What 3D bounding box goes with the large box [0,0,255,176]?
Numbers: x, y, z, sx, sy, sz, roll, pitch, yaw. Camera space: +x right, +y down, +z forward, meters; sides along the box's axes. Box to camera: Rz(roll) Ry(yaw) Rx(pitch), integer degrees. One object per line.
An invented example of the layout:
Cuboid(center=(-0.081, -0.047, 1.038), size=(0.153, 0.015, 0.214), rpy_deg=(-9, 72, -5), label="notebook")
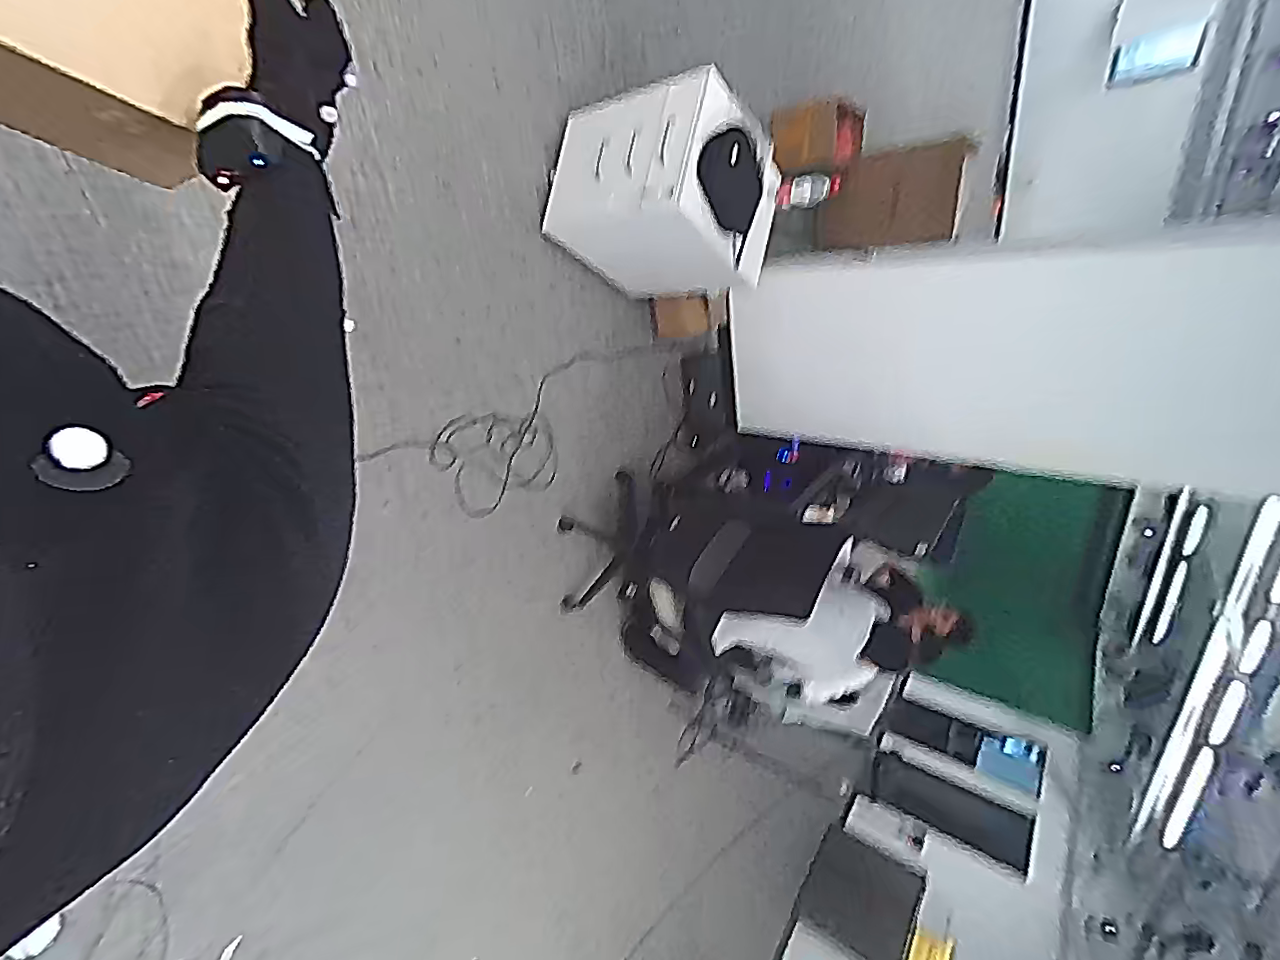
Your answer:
Cuboid(center=(-0.560, -0.486, 0.395), size=(0.408, 0.320, 0.320), rpy_deg=(5, 101, -52), label="large box")
